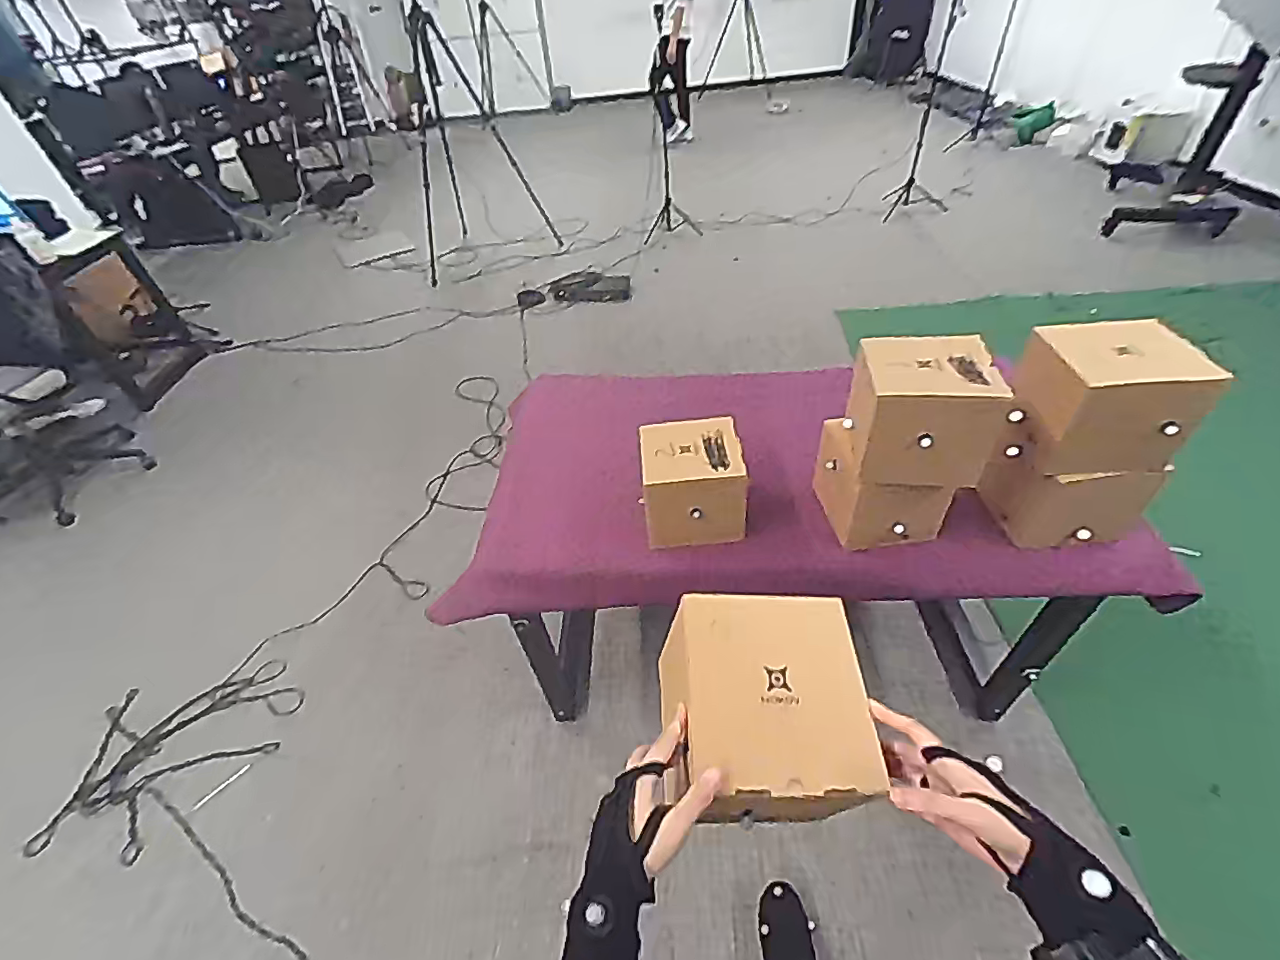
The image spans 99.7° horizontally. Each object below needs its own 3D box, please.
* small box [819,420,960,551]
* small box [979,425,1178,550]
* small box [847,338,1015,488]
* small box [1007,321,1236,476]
[{"bbox_3d":[0.431,0.003,0.965,0.168,0.176,0.179,-8,43,0],"label":"small box"},{"bbox_3d":[0.726,0.003,0.923,0.179,0.176,0.168,-6,43,2],"label":"small box"},{"bbox_3d":[0.431,-0.102,0.835,0.179,0.176,0.168,2,43,11],"label":"small box"},{"bbox_3d":[0.699,-0.120,0.818,0.179,0.176,0.168,-2,43,7],"label":"small box"}]
